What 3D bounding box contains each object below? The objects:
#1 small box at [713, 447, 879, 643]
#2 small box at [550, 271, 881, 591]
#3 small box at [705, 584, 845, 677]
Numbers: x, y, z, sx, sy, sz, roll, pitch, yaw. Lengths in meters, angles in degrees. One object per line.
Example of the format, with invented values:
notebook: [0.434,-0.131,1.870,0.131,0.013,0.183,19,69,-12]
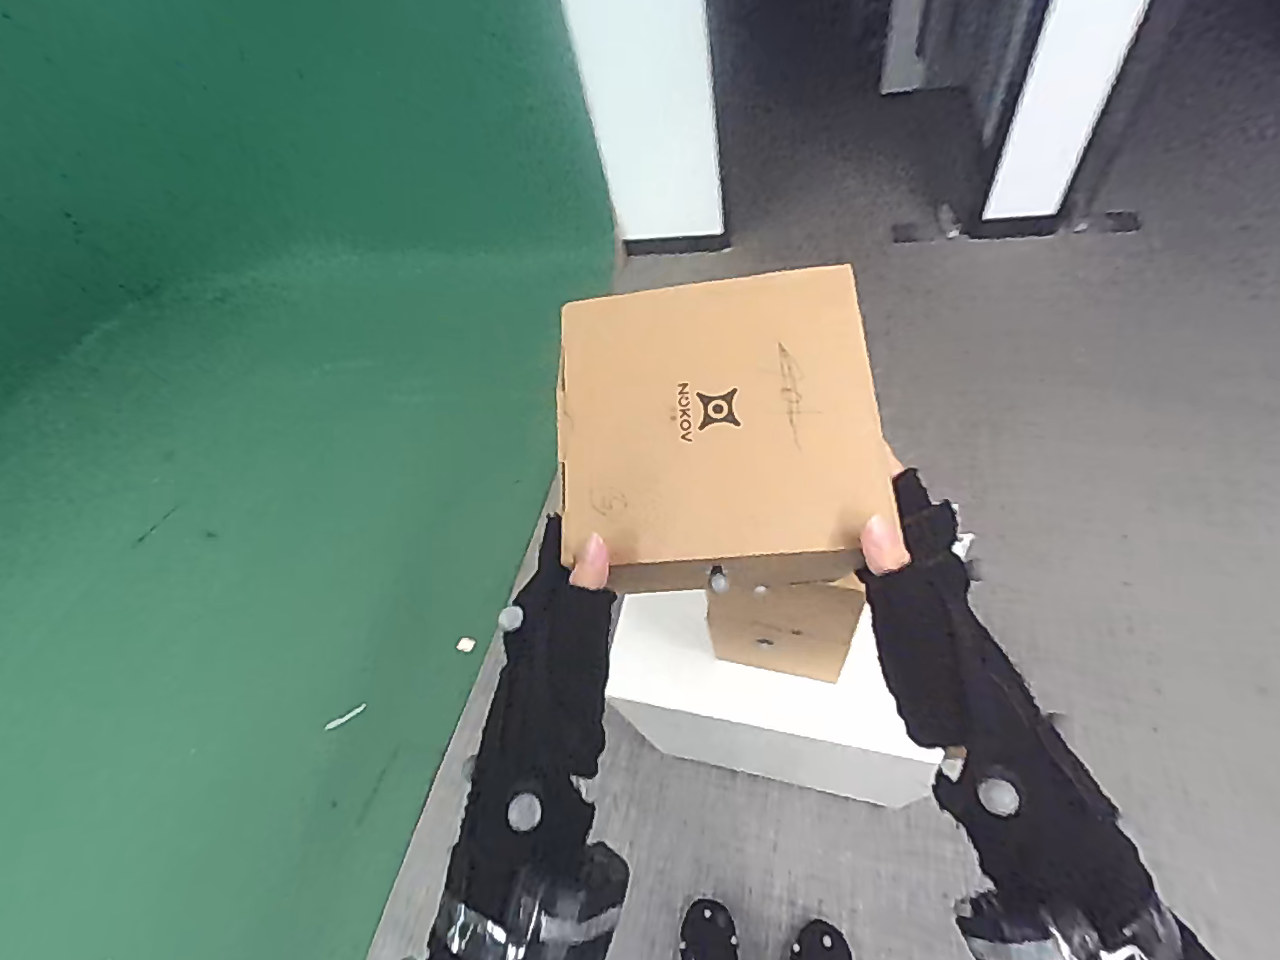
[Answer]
small box: [0.178,0.071,0.639,0.168,0.176,0.179,6,58,16]
small box: [0.046,-0.015,0.384,0.179,0.176,0.168,-6,74,7]
small box: [0.202,0.164,0.768,0.179,0.176,0.168,7,57,18]
